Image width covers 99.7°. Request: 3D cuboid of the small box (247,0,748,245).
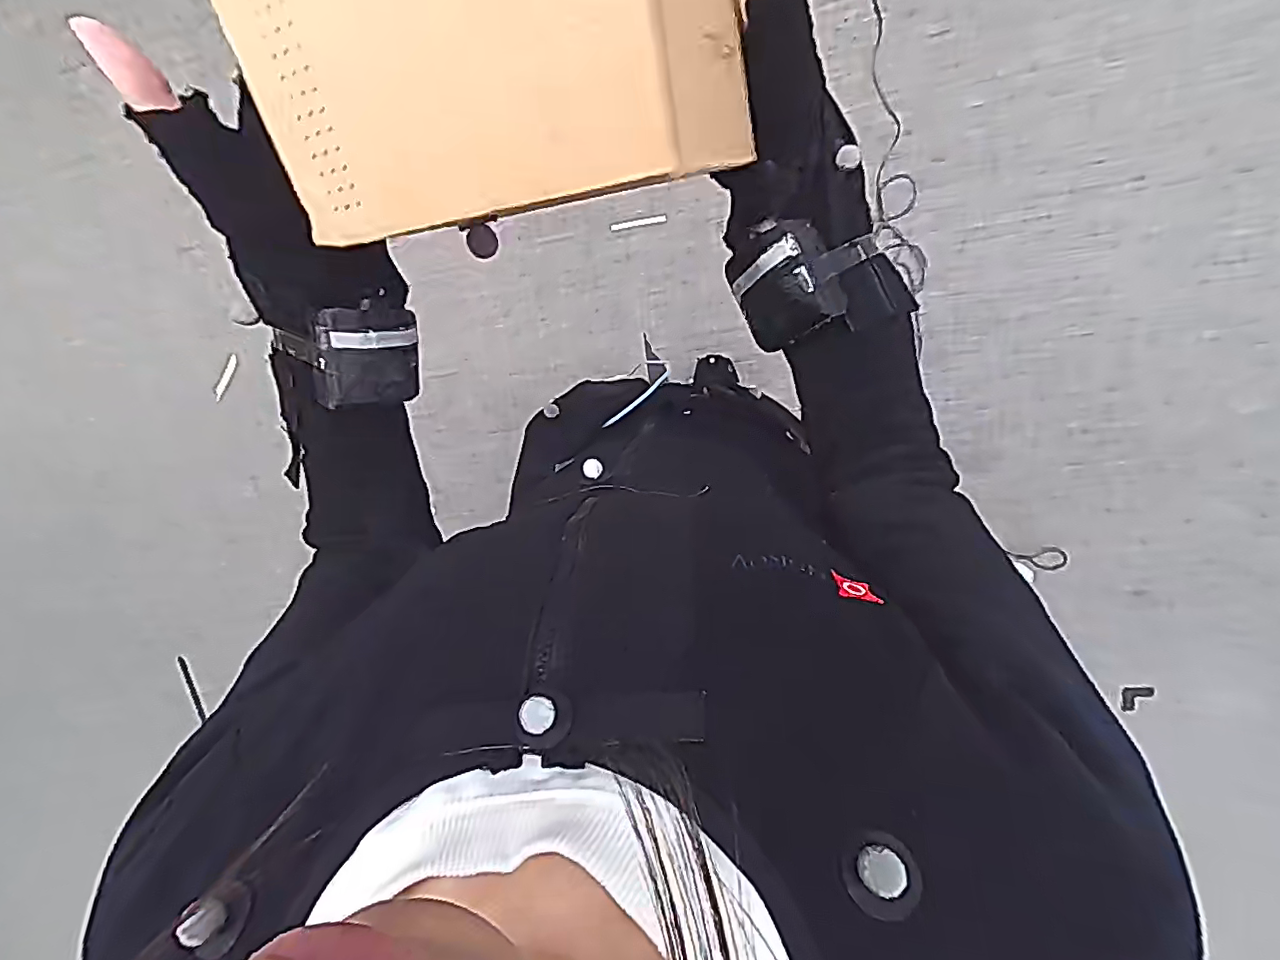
[{"bbox_3d":[-0.053,-0.219,0.242,0.176,0.168,0.179,0,119,20],"label":"small box"}]
